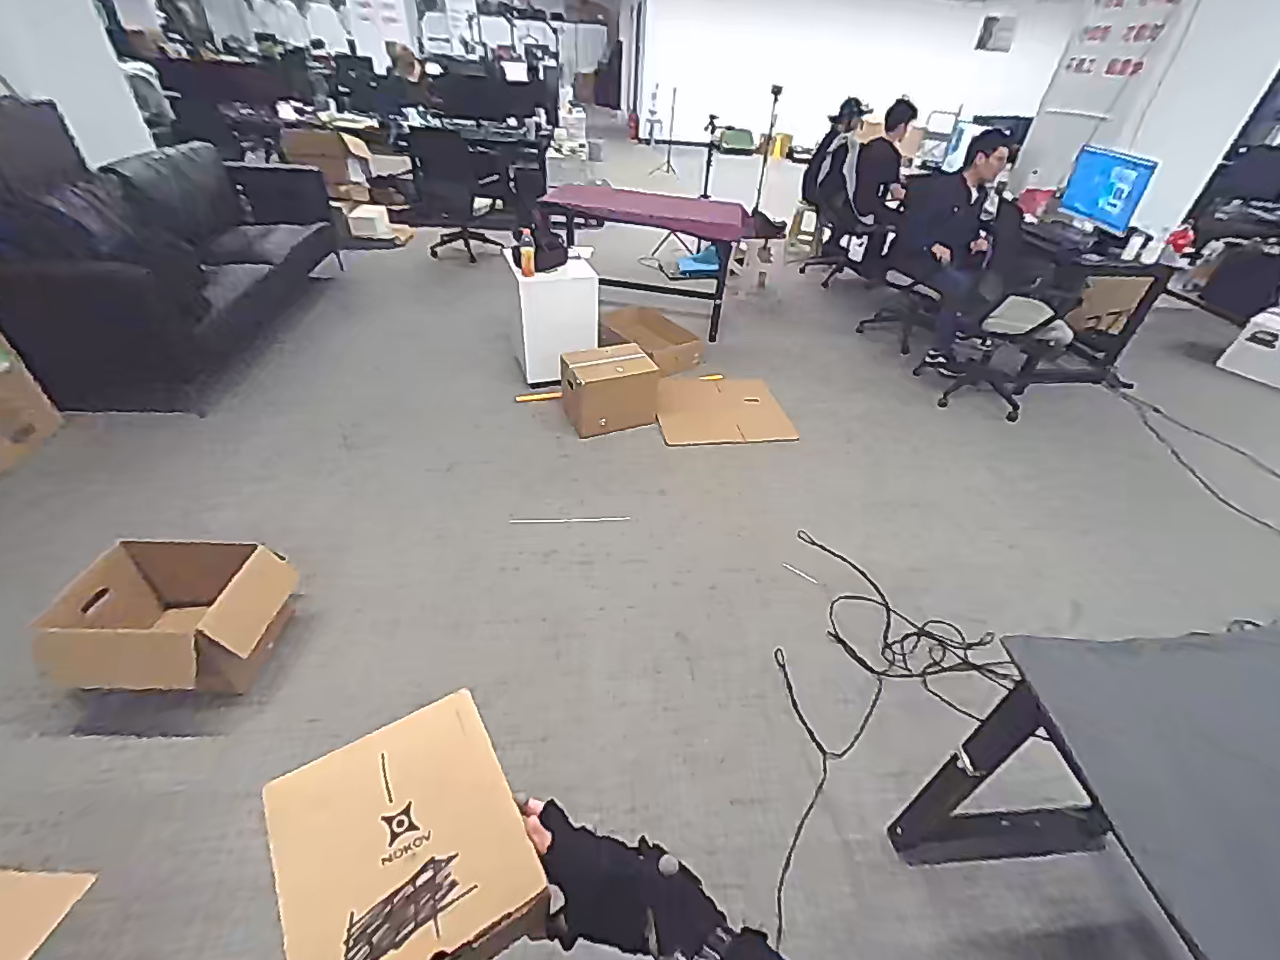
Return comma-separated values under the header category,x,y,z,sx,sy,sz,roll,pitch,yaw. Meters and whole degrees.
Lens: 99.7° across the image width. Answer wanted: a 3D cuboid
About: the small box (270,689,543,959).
category,x,y,z,sx,sy,sz,roll,pitch,yaw
small box,-0.191,0.328,0.475,0.168,0.176,0.179,-20,51,-27
